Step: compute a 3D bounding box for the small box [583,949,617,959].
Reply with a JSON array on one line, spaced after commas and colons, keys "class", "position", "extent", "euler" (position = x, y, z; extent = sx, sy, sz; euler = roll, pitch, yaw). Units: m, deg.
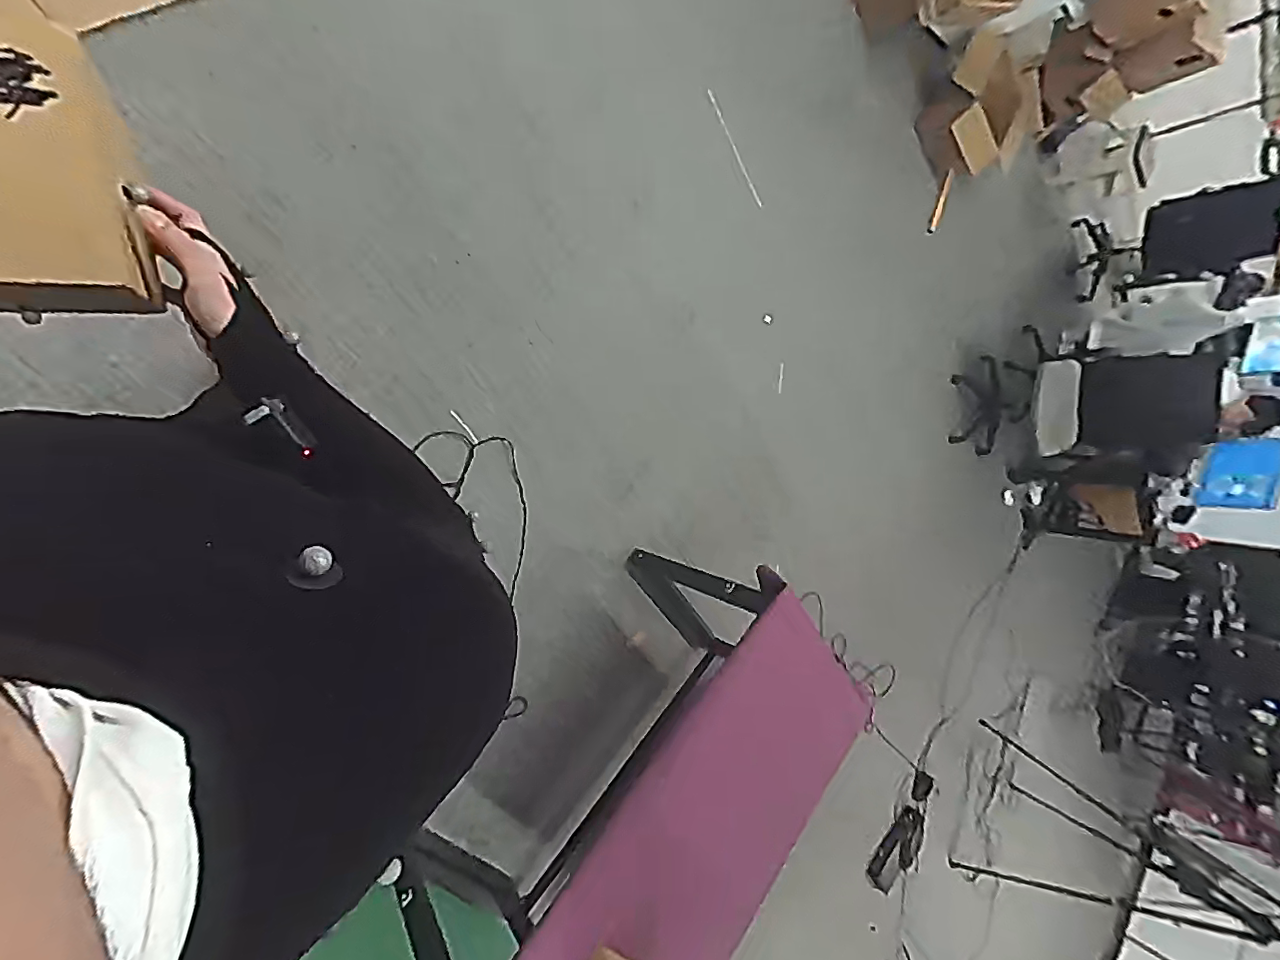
[{"class": "small box", "position": [-0.061, 1.117, 1.101], "extent": [0.168, 0.176, 0.179], "euler": [-48, 121, -22]}]
